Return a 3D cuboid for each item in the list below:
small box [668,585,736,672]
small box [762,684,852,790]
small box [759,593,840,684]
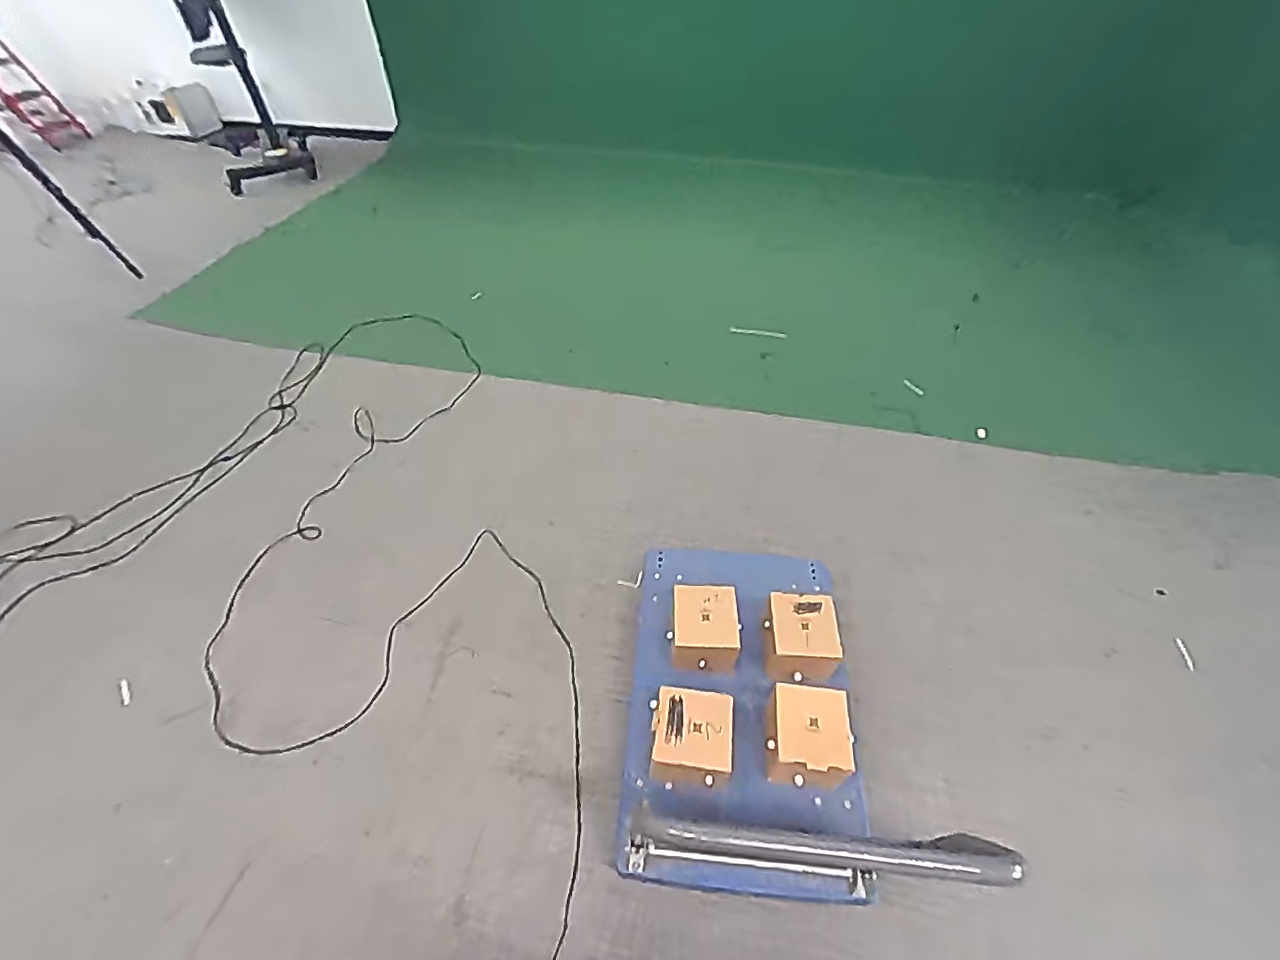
[{"bbox_3d":[0.164,0.406,1.463,0.168,0.176,0.179,3,49,0],"label":"small box"},{"bbox_3d":[0.387,0.613,1.288,0.168,0.176,0.179,6,48,5],"label":"small box"},{"bbox_3d":[0.418,0.426,1.449,0.168,0.176,0.179,3,49,3],"label":"small box"}]
